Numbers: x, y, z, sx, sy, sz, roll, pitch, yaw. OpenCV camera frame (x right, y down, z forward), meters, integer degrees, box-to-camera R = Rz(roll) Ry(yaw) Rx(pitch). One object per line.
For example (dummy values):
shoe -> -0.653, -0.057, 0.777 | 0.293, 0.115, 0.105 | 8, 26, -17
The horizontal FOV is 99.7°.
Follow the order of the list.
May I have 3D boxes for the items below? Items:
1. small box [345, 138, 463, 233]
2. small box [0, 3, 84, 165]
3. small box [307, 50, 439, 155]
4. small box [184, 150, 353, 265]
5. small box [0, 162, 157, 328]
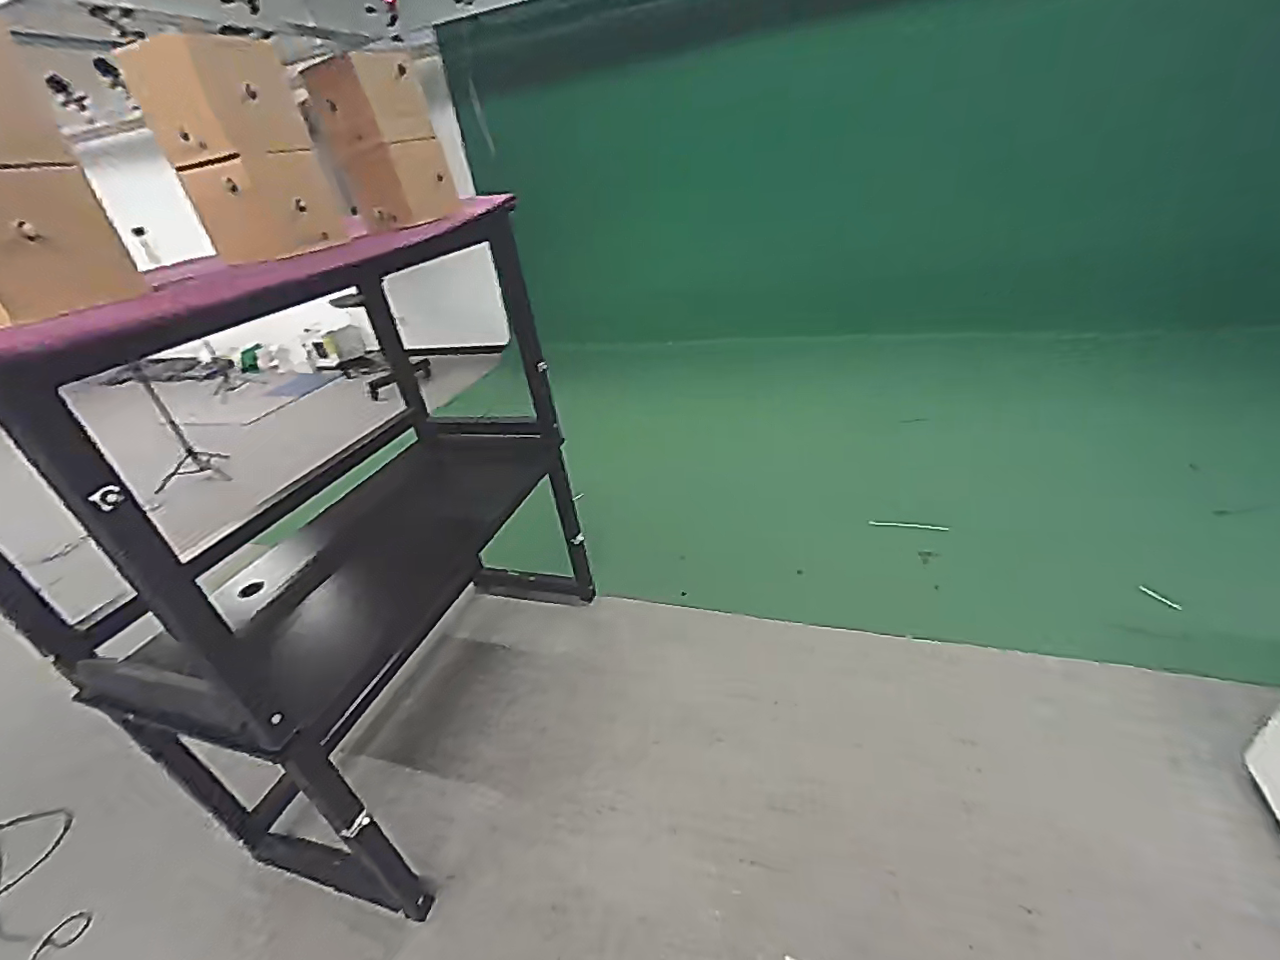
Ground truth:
small box -> -0.554, -0.705, 1.301 | 0.168, 0.176, 0.179 | 4, 36, 25
small box -> -0.825, -0.442, 0.618 | 0.168, 0.176, 0.179 | 0, 31, 13
small box -> -0.590, -0.840, 1.217 | 0.168, 0.176, 0.179 | 6, 35, 28
small box -> -0.699, -0.522, 1.039 | 0.179, 0.176, 0.168 | 3, 32, 20
small box -> -0.805, -0.301, 0.702 | 0.168, 0.176, 0.179 | 1, 33, 14
